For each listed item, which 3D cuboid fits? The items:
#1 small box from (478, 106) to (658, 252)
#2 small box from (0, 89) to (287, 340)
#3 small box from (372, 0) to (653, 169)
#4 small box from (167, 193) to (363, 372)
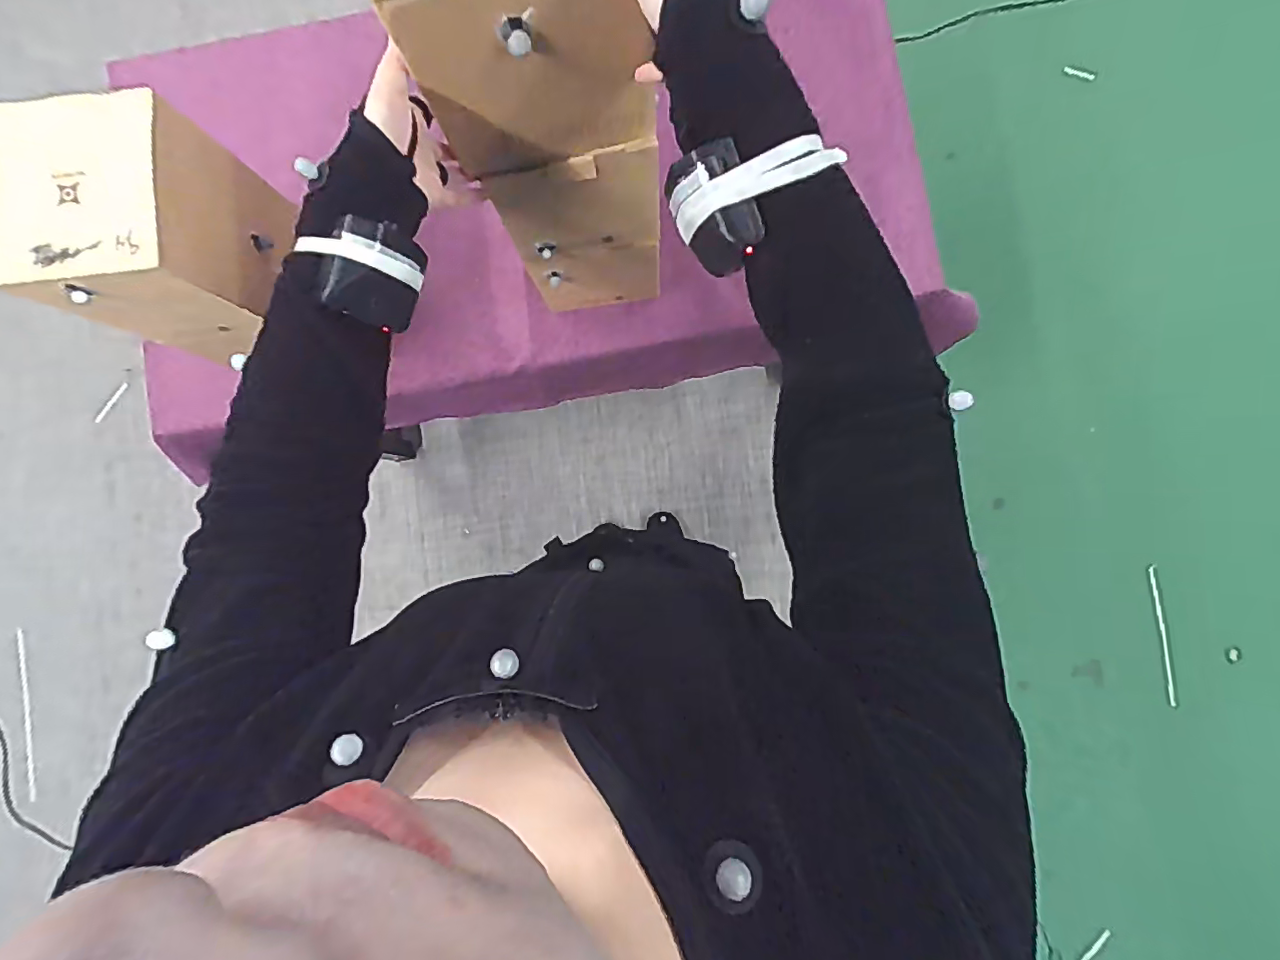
[{"bbox_3d":[-0.076,-0.364,0.569,0.168,0.176,0.179,-11,85,2],"label":"small box"},{"bbox_3d":[-0.515,-0.268,0.582,0.168,0.176,0.179,-5,86,4],"label":"small box"},{"bbox_3d":[-0.087,-0.375,0.407,0.179,0.176,0.168,-12,86,3],"label":"small box"},{"bbox_3d":[-0.508,-0.260,0.747,0.168,0.176,0.179,-5,87,3],"label":"small box"}]
